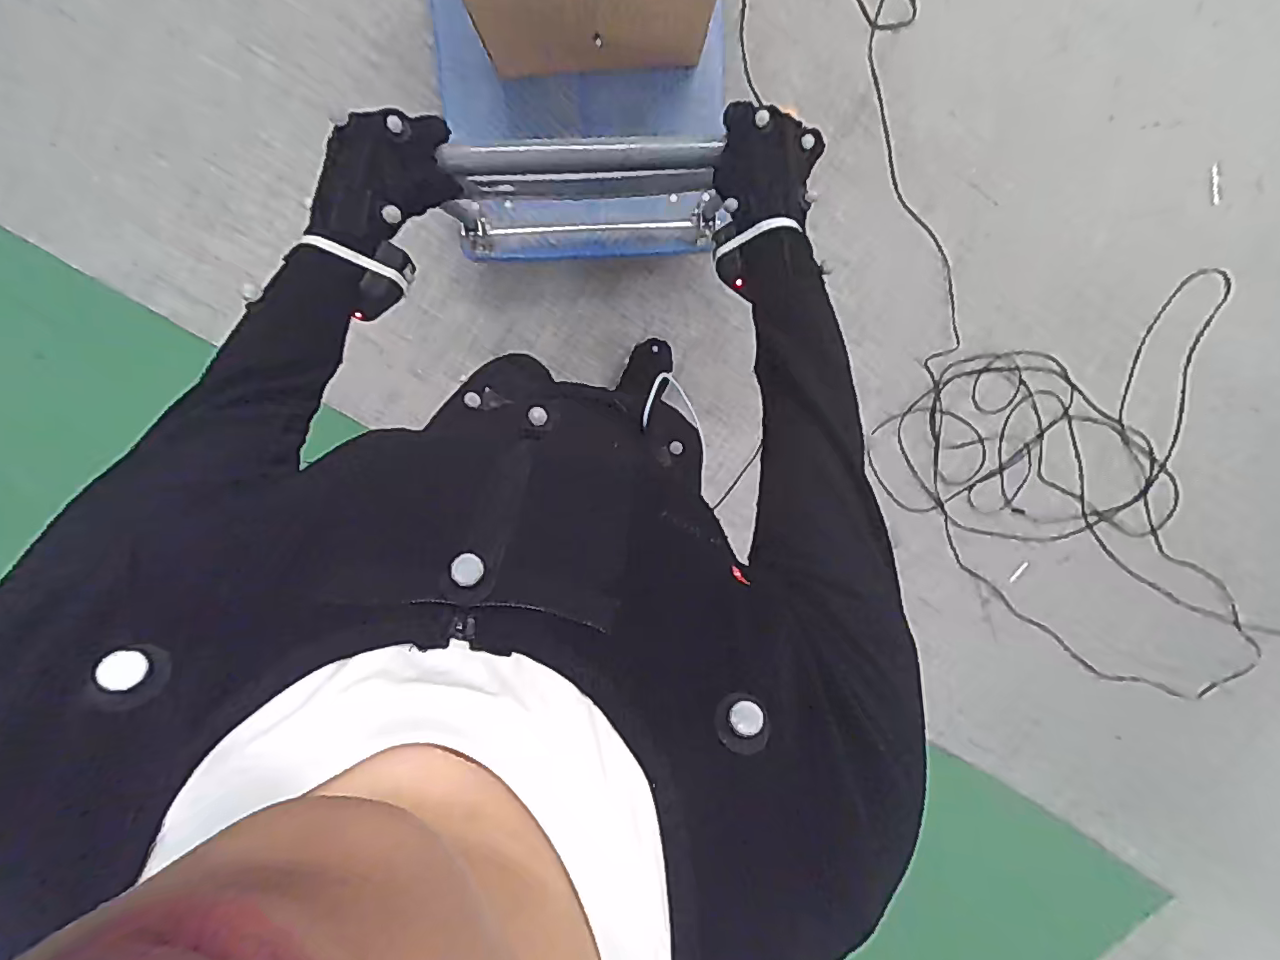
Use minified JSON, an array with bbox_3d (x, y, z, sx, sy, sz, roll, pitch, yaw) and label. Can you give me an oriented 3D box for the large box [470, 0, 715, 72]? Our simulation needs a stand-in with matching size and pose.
[{"bbox_3d":[-0.085,-0.940,0.902,0.408,0.320,0.320,-5,105,0],"label":"large box"}]
